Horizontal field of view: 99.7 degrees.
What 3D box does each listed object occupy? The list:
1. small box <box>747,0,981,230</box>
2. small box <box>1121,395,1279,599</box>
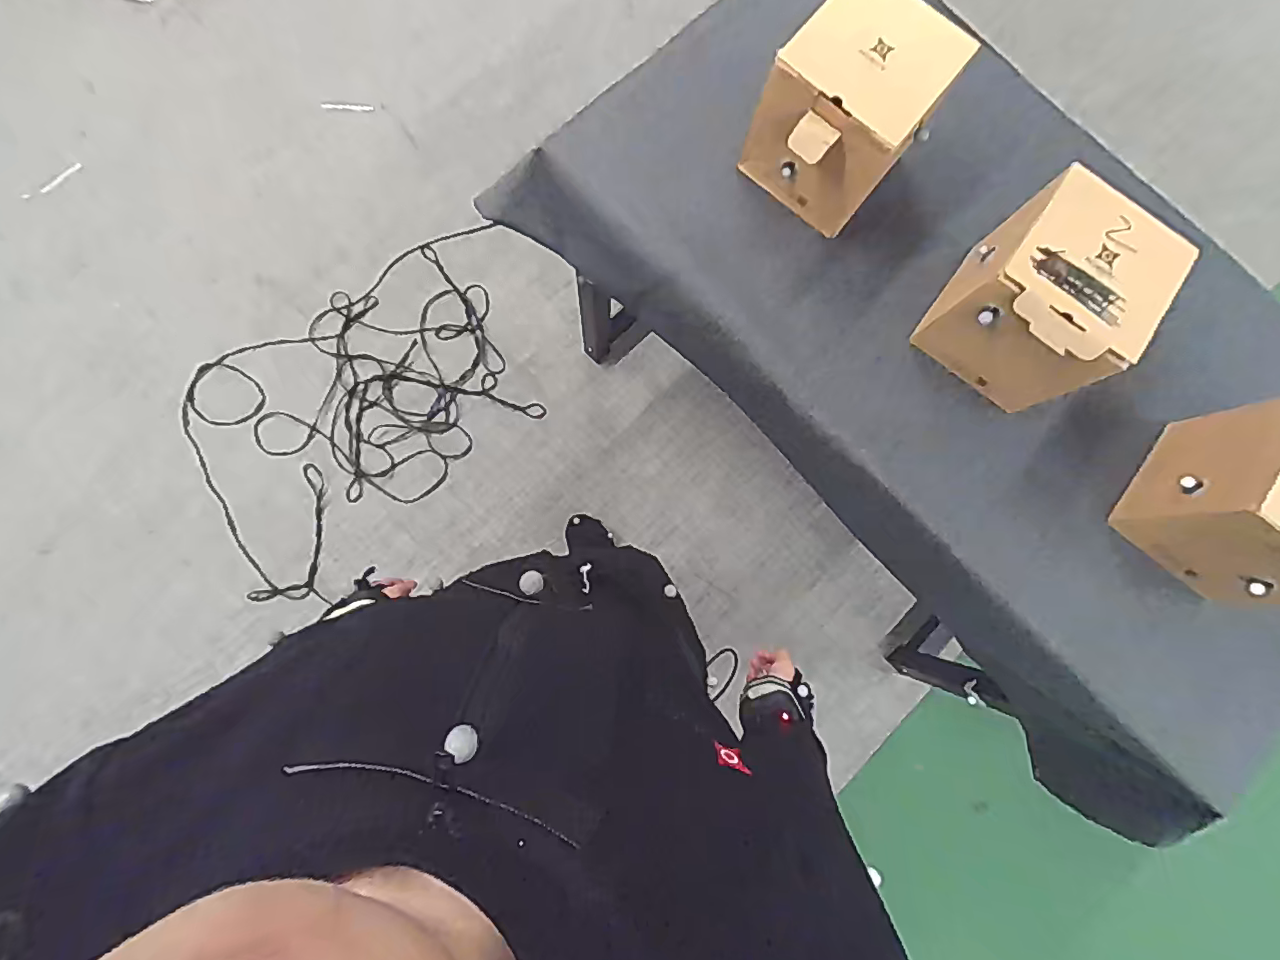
[{"bbox_3d":[0.256,-0.457,0.663,0.168,0.176,0.179,39,81,1],"label":"small box"},{"bbox_3d":[0.725,0.026,0.628,0.168,0.176,0.179,39,80,1],"label":"small box"}]
